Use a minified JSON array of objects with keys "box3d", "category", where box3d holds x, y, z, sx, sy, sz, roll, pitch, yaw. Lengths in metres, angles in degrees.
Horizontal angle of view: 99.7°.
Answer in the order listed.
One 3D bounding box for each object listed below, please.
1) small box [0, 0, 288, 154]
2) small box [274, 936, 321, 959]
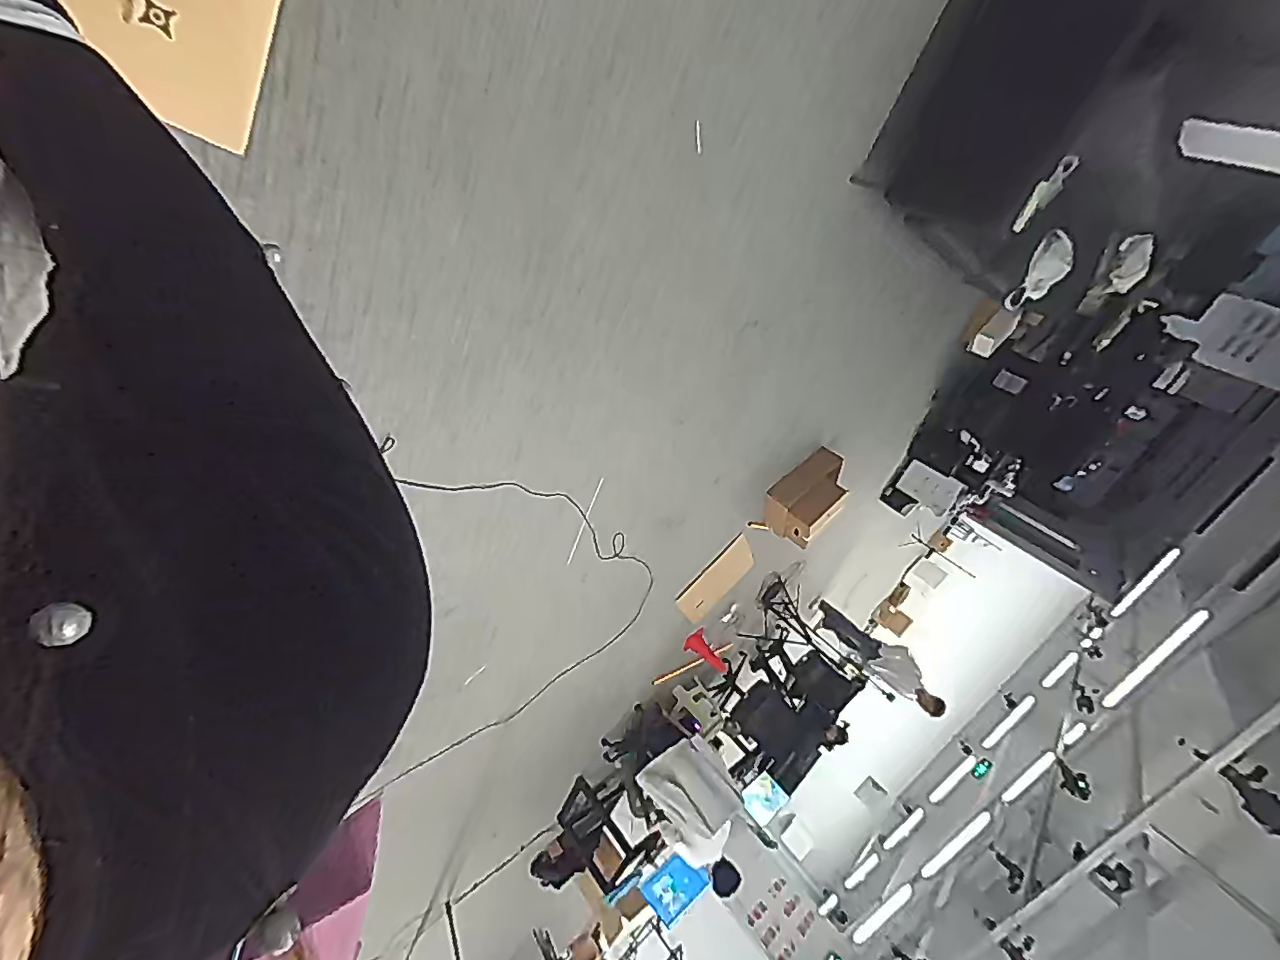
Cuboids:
[{"box3d":[-0.479,-0.457,0.518,0.179,0.176,0.168,4,119,-53],"category":"small box"},{"box3d":[-0.904,1.326,1.367,0.179,0.176,0.168,-11,132,-45],"category":"small box"}]
